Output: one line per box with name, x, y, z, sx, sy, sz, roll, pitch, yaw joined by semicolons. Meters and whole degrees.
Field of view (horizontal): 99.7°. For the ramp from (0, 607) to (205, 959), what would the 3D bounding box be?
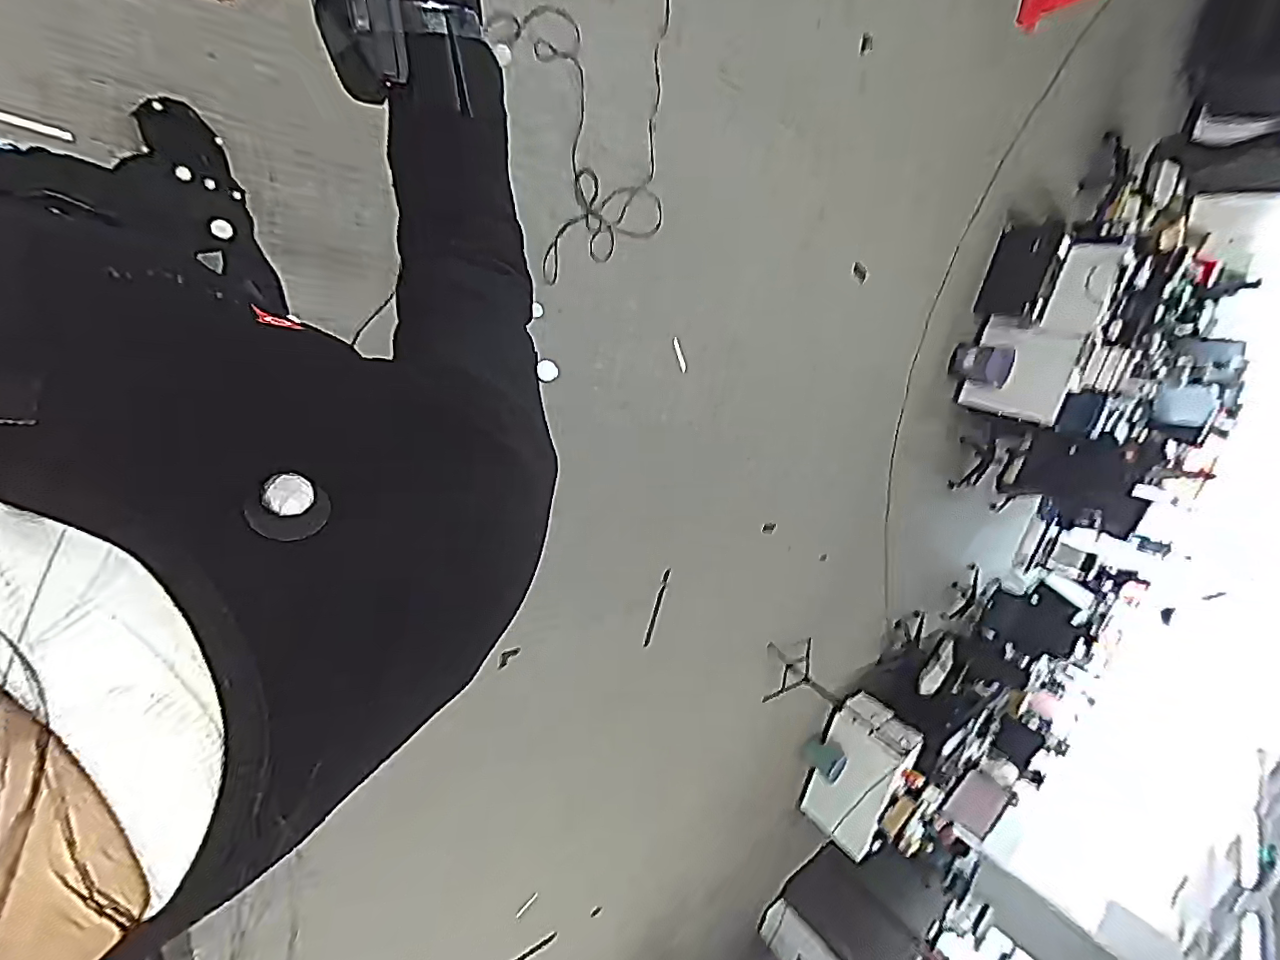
ramp;-1.290;0.784;1.184;0.509;0.206;0.991;1;109;-41
